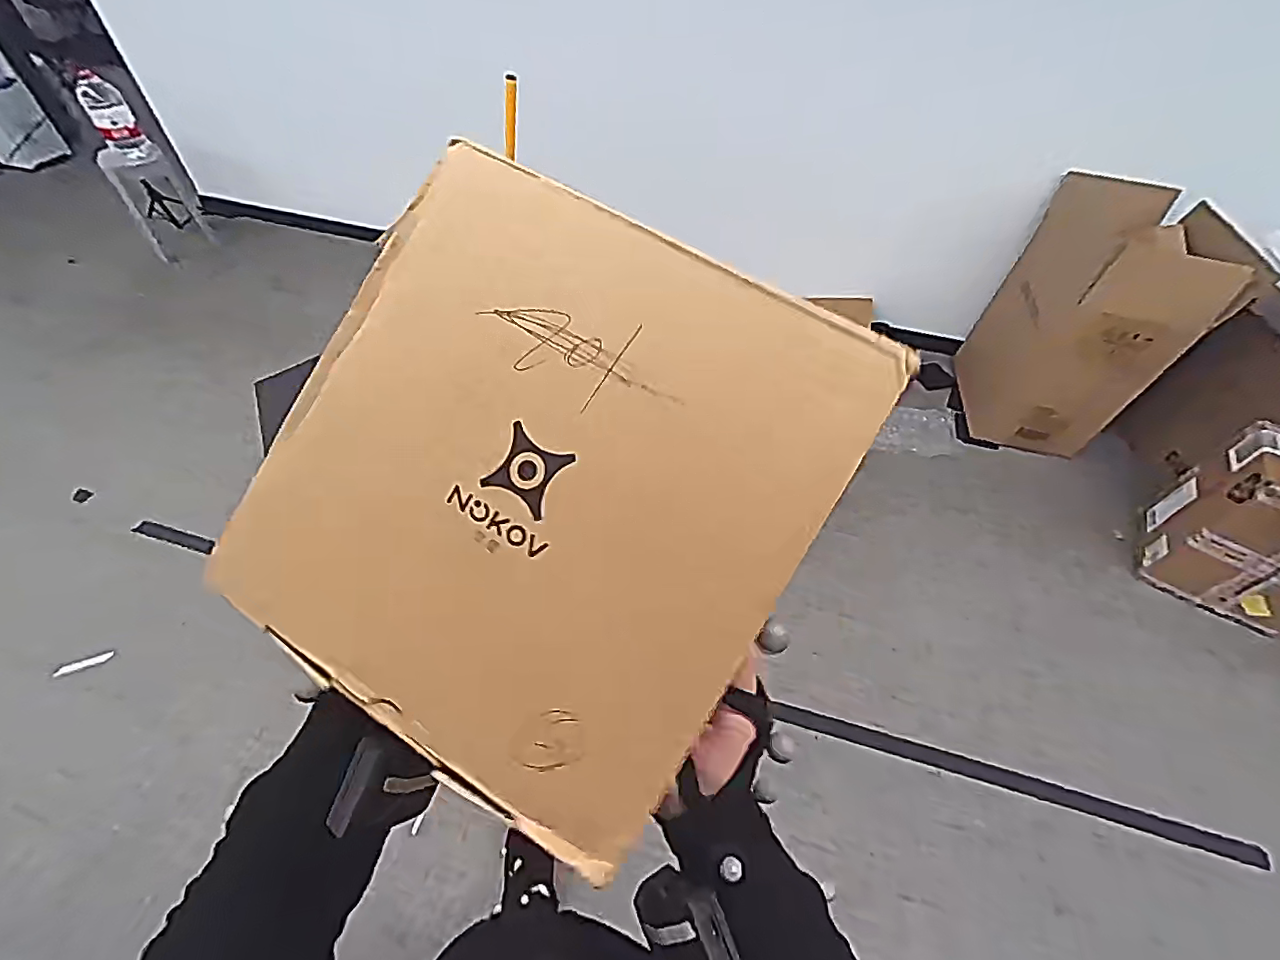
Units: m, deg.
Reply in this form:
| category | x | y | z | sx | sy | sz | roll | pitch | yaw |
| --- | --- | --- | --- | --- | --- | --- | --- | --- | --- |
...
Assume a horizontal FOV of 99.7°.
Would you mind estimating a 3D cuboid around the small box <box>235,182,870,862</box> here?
| category | x | y | z | sx | sy | sz | roll | pitch | yaw |
| --- | --- | --- | --- | --- | --- | --- | --- | --- | --- |
| small box | -0.024 | 0.013 | 0.257 | 0.168 | 0.176 | 0.179 | 28 | 89 | 11 |
